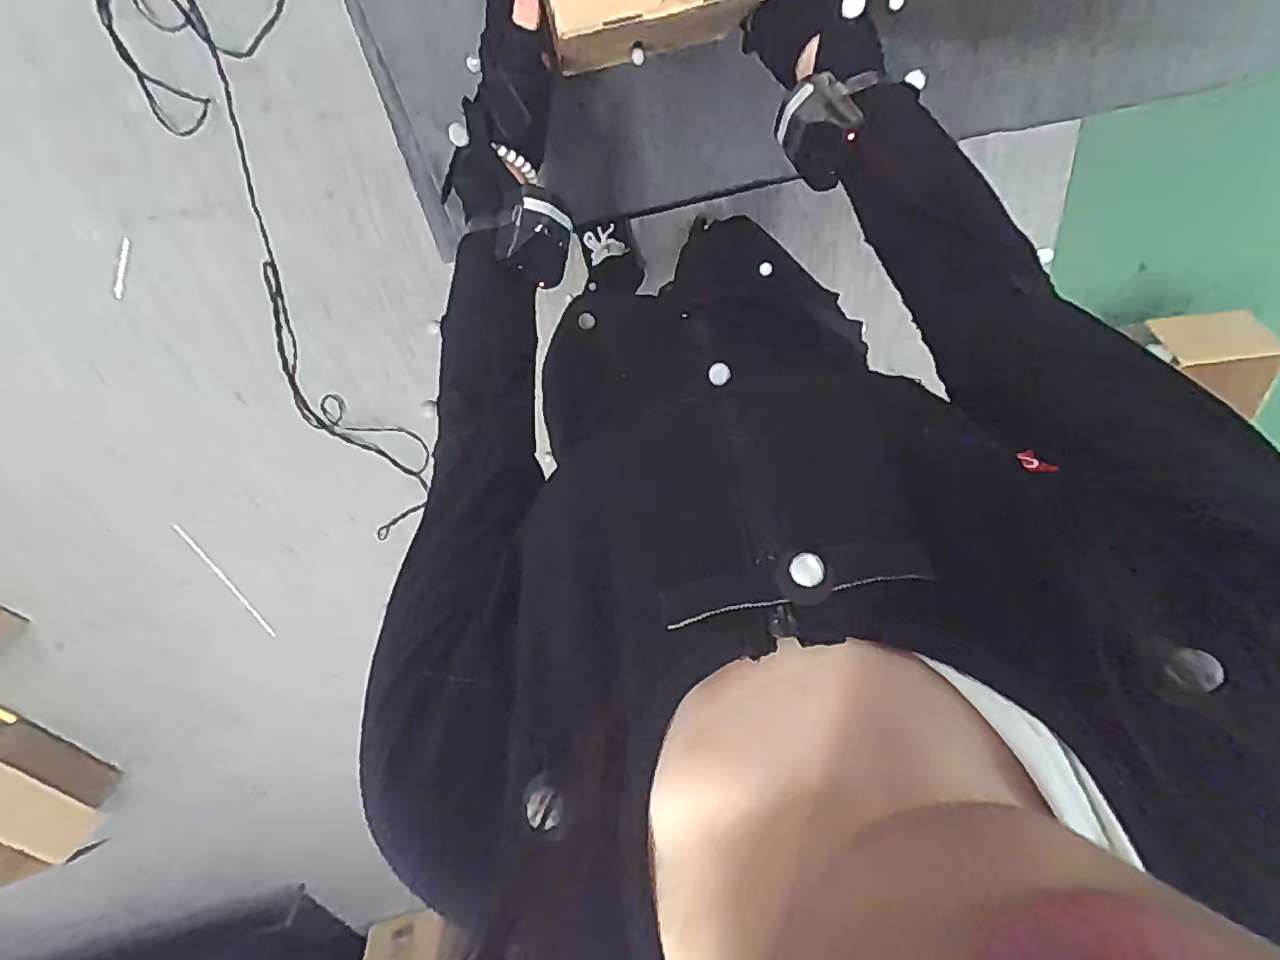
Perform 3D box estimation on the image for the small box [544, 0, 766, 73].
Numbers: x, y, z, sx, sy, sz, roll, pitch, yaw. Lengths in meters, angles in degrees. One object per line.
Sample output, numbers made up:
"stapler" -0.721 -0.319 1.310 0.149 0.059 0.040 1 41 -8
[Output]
"small box" -0.004 -0.443 0.409 0.168 0.176 0.179 -15 121 0
